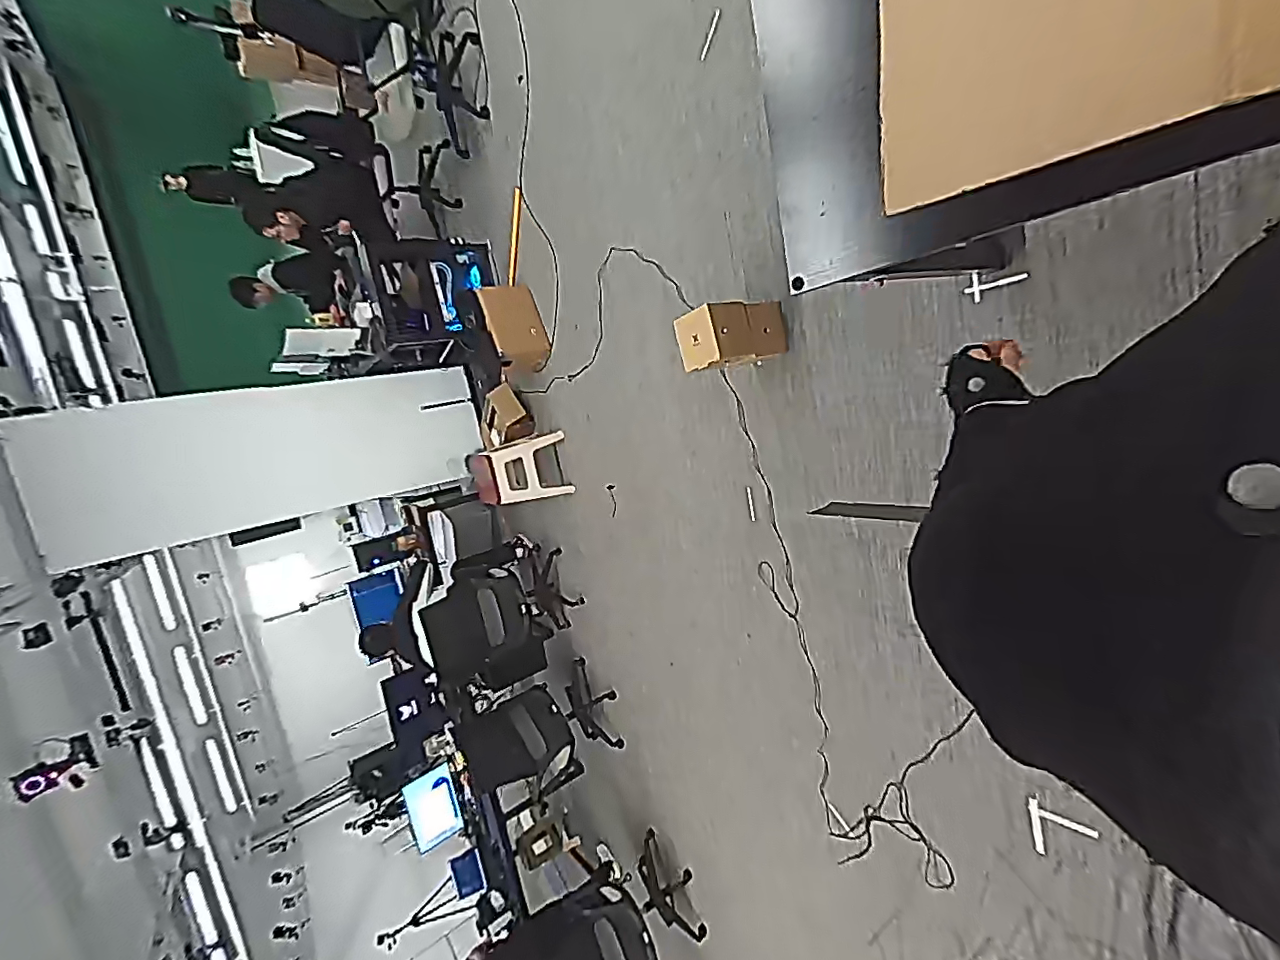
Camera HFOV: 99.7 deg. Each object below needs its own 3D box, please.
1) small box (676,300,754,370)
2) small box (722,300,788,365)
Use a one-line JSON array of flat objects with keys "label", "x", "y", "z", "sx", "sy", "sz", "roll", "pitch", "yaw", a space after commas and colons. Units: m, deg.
[{"label": "small box", "x": 0.245, "y": -0.466, "z": 1.736, "sx": 0.168, "sy": 0.176, "sz": 0.179, "roll": -11, "pitch": 93, "yaw": 54}, {"label": "small box", "x": 0.375, "y": -0.498, "z": 1.828, "sx": 0.168, "sy": 0.176, "sz": 0.179, "roll": -5, "pitch": 100, "yaw": 55}]
